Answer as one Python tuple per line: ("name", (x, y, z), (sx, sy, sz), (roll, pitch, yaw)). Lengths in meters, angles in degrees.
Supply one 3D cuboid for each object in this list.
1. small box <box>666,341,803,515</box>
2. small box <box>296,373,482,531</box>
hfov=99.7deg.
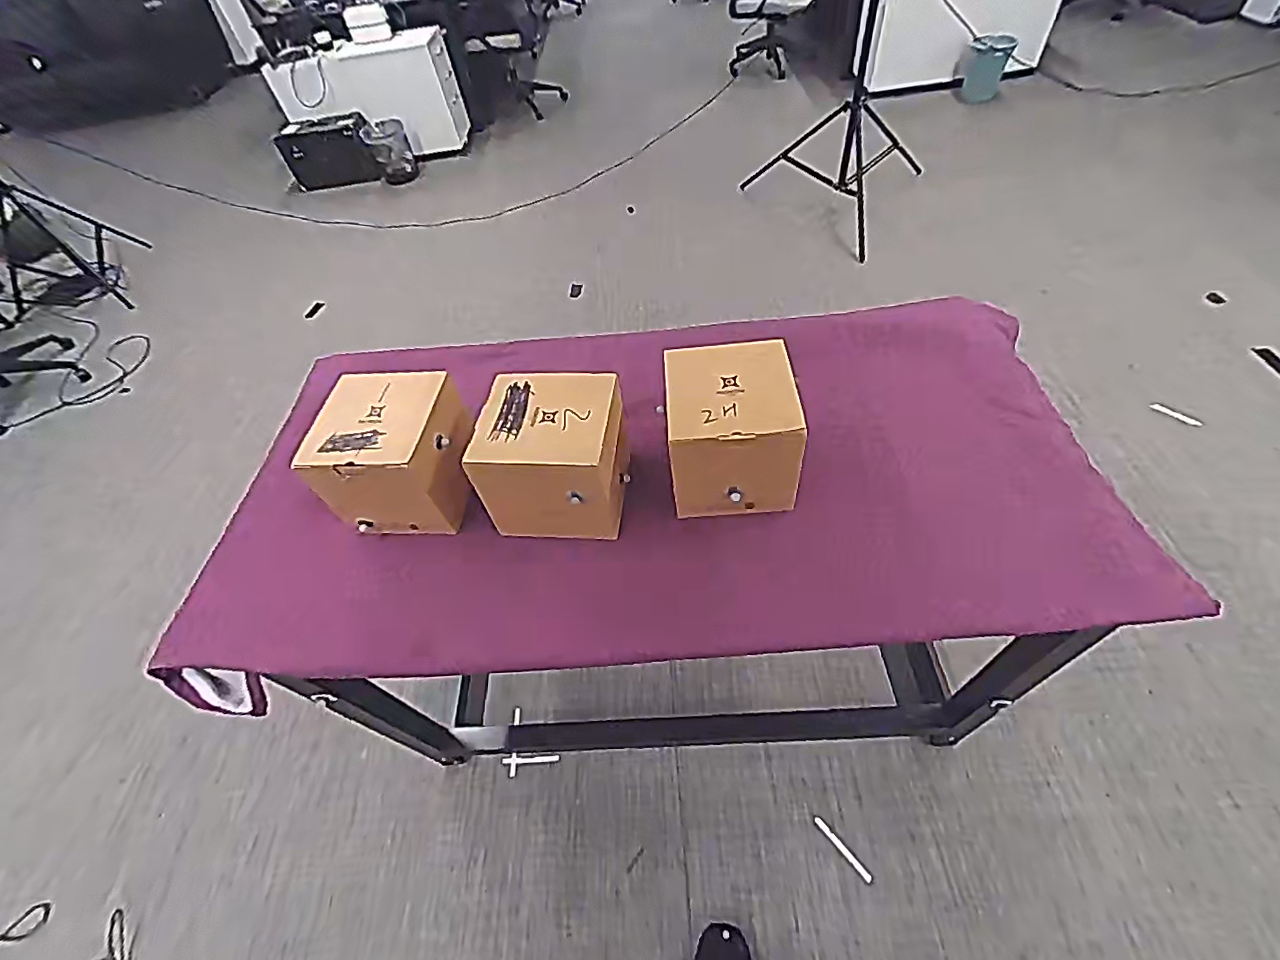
("small box", (0.123, -0.070, 0.762), (0.168, 0.176, 0.179), (-4, 51, 5))
("small box", (-0.352, -0.036, 0.802), (0.168, 0.176, 0.179), (0, 52, 7))
